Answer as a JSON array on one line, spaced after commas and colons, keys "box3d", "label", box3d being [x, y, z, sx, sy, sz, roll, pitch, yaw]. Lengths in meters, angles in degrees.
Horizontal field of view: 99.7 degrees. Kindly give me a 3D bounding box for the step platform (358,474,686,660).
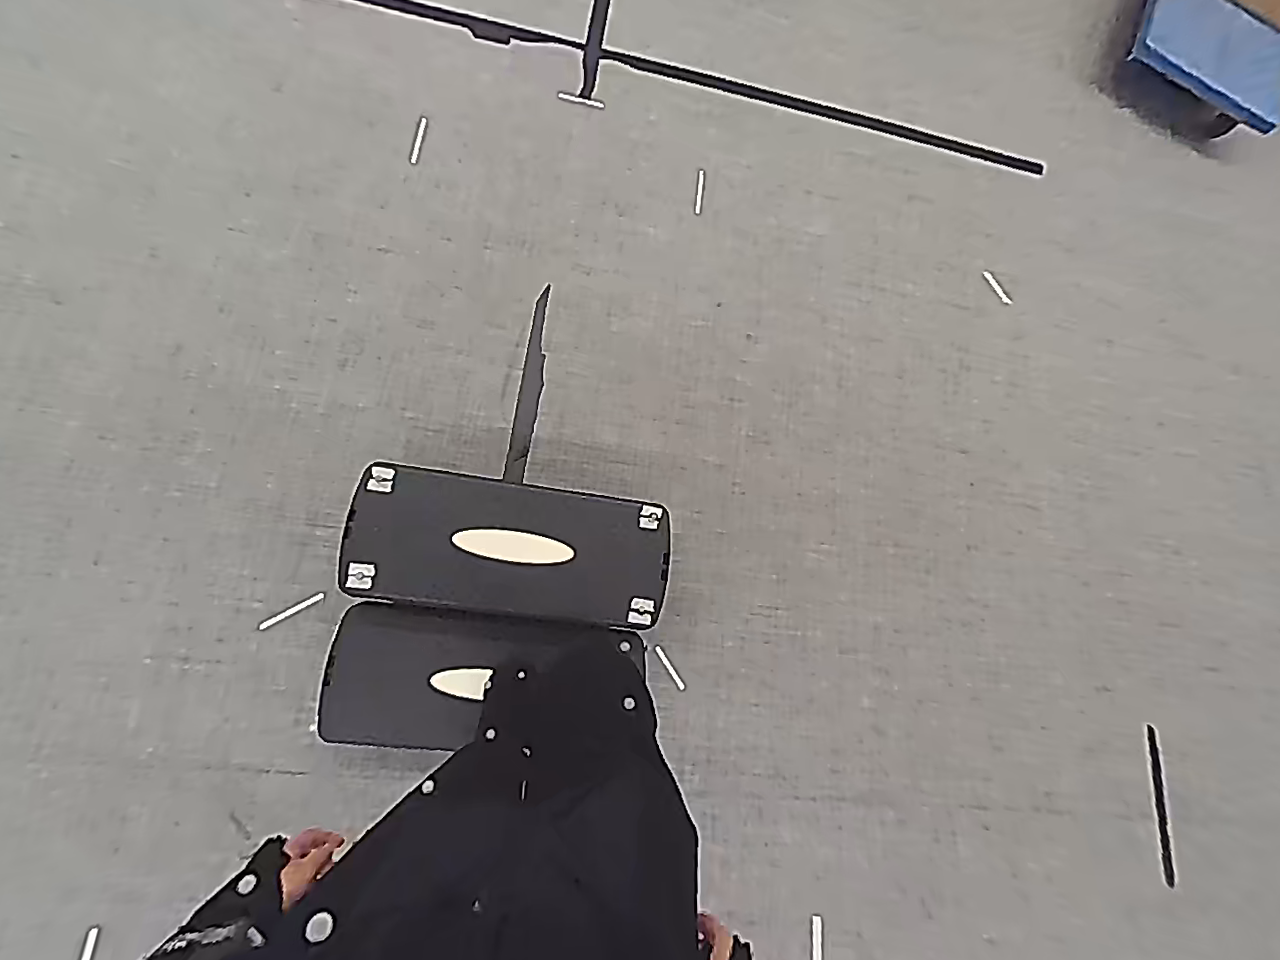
[{"box3d": [-0.241, 0.199, 1.208, 0.684, 0.204, 0.286, 14, 74, -8], "label": "step platform"}]
